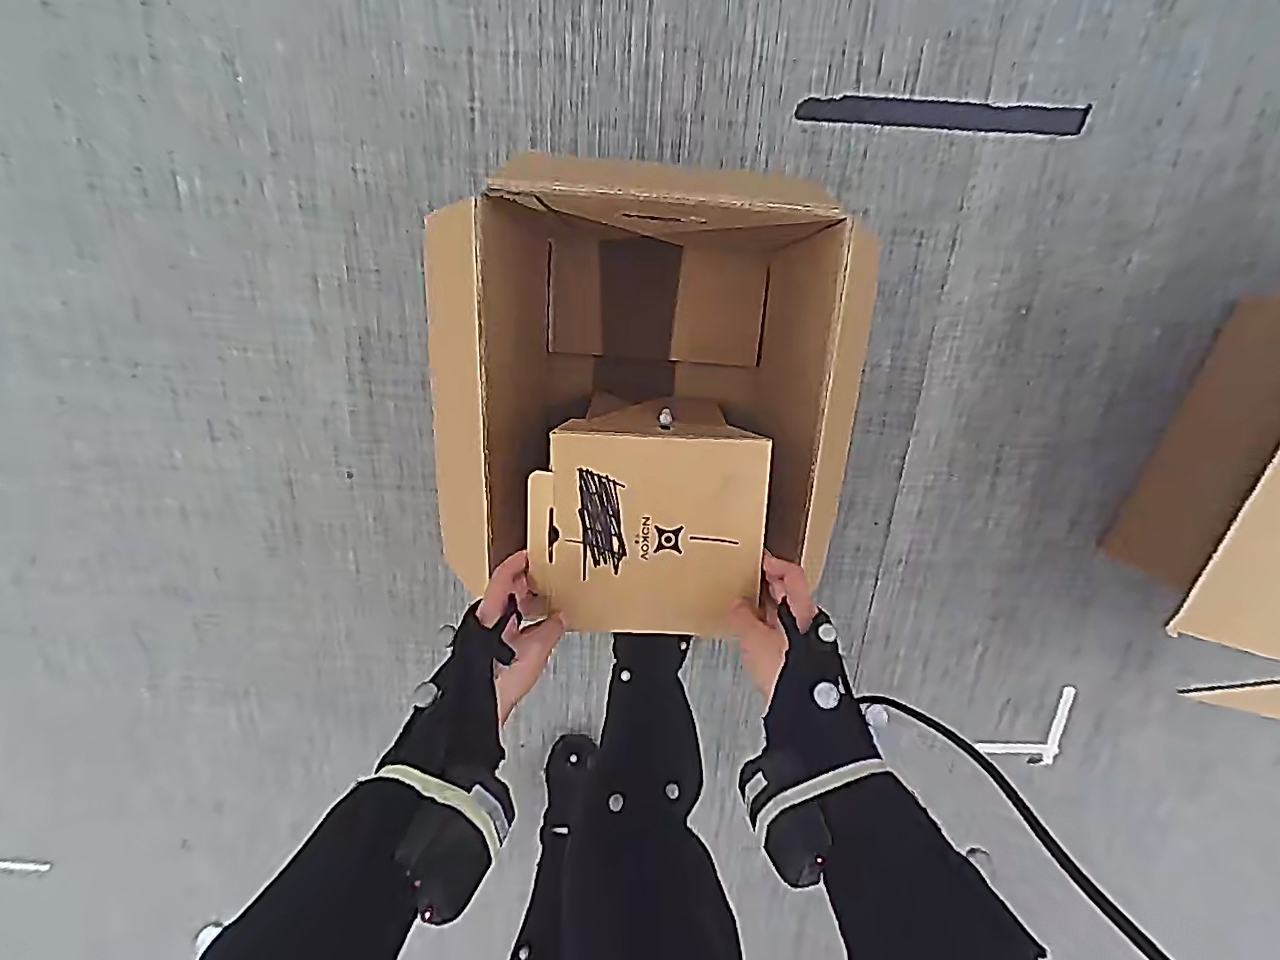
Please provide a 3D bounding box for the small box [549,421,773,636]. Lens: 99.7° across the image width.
[{"bbox_3d":[0.012,0.034,0.515,0.179,0.176,0.168,2,100,-3],"label":"small box"}]
